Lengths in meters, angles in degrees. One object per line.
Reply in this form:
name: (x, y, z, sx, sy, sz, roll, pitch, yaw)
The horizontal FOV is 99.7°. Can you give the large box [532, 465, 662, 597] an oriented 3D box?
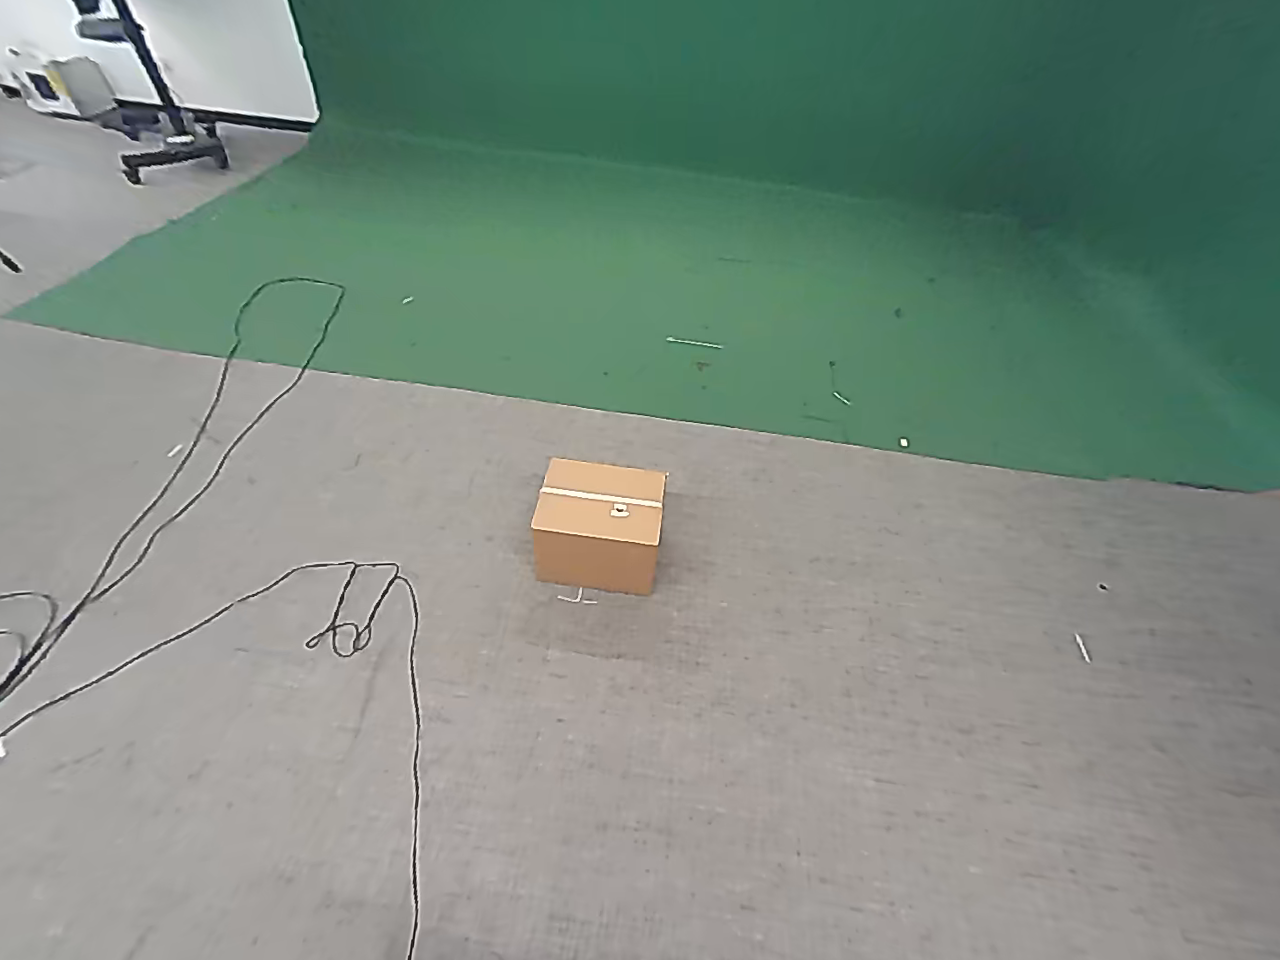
large box: (-0.145, 0.181, 1.892, 0.408, 0.320, 0.320, 7, 47, 0)
